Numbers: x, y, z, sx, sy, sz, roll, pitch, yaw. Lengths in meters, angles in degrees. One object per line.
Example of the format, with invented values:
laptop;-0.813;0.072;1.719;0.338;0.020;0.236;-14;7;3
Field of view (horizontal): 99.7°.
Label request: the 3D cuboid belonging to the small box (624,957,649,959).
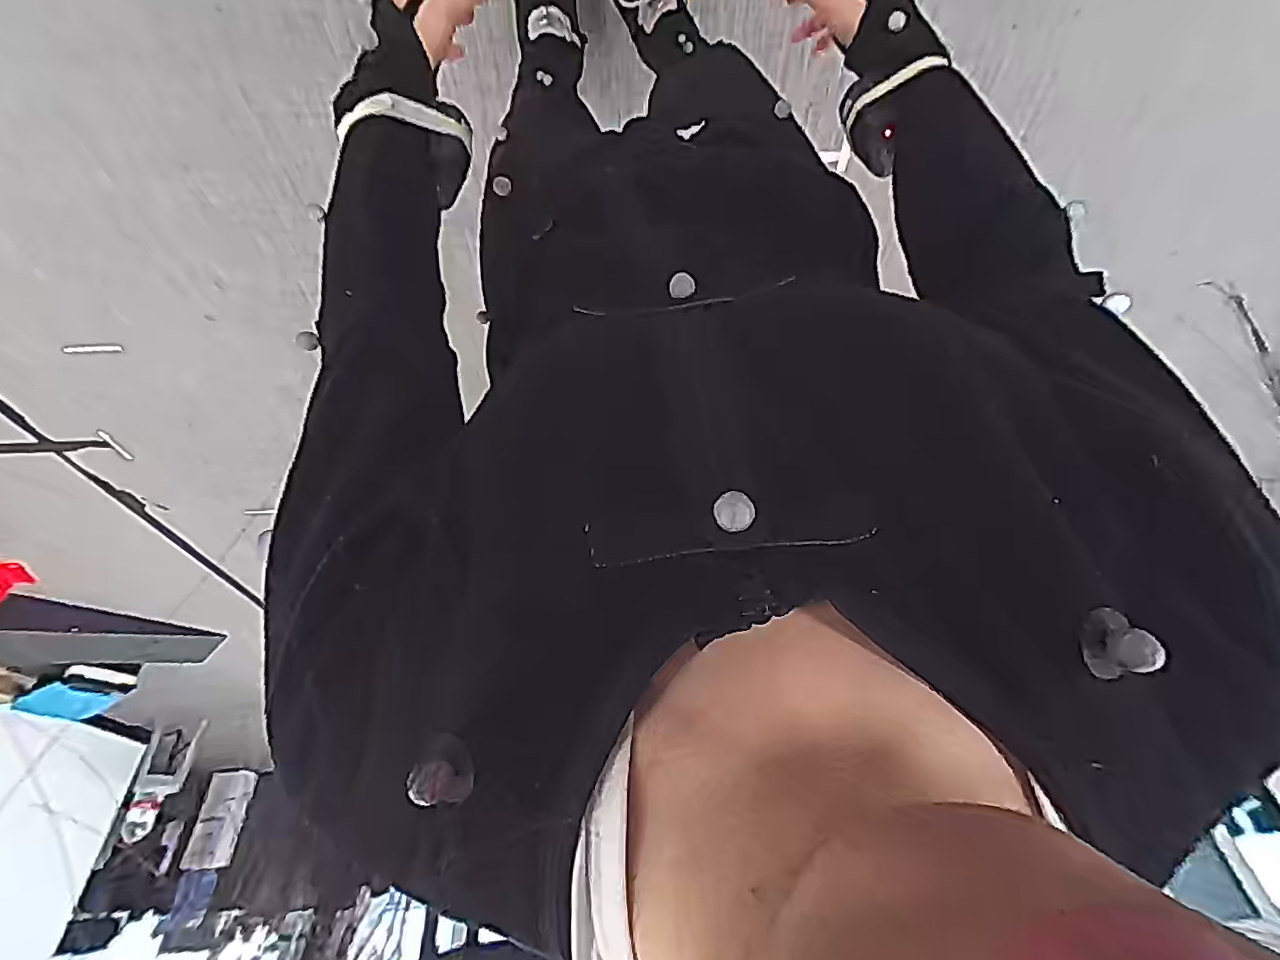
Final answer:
small box;-0.045;1.500;1.553;0.168;0.176;0.179;-3;145;-3
